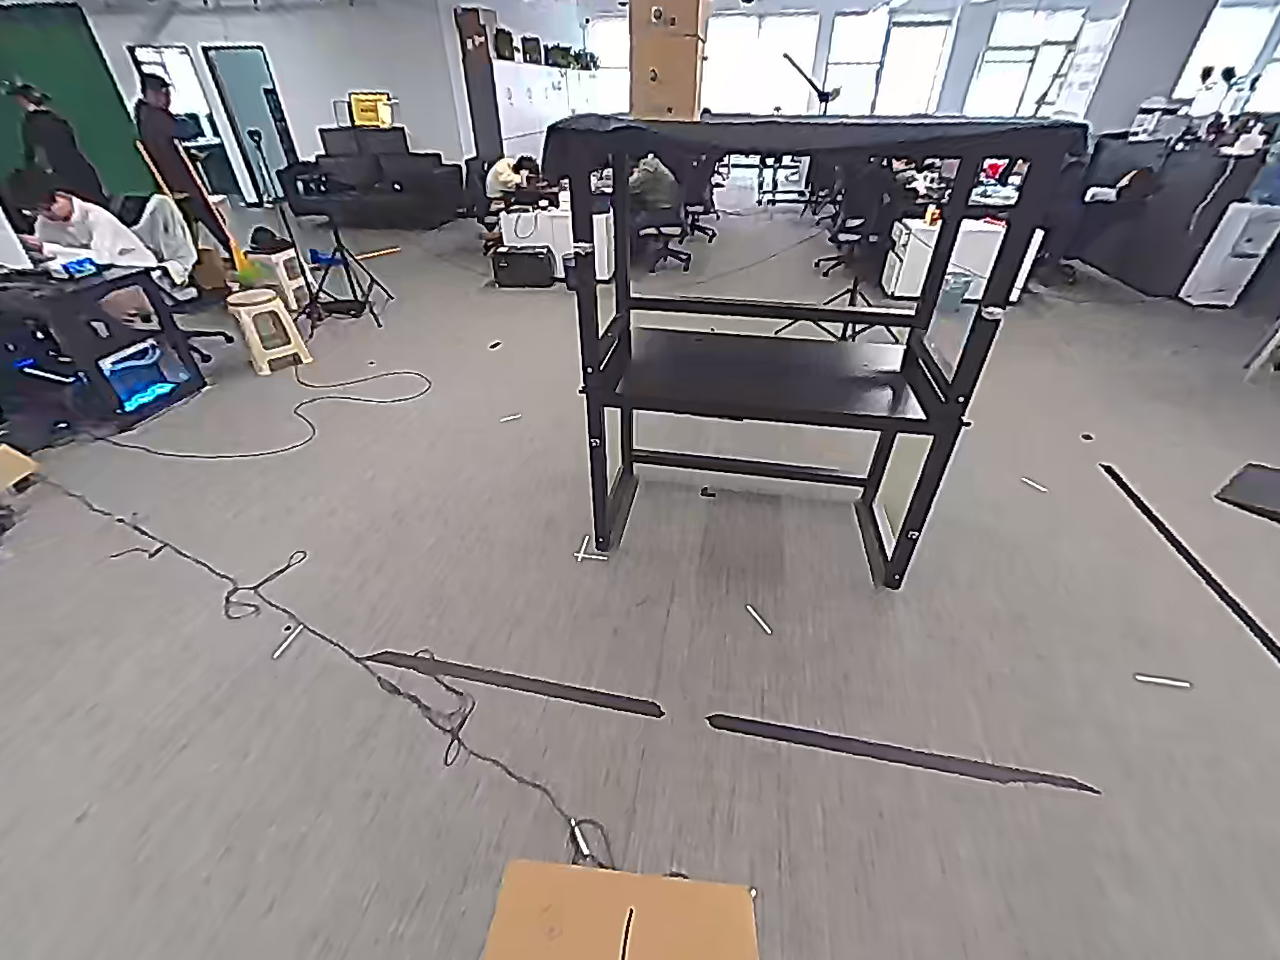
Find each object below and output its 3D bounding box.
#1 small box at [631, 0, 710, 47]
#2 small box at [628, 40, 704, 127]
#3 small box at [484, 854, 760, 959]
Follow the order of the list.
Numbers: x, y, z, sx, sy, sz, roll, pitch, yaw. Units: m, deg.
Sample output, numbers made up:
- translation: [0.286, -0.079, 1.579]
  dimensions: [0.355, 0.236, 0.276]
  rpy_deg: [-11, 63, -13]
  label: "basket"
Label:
- translation: [0.074, -1.128, 1.273]
  dimensions: [0.168, 0.176, 0.179]
  rpy_deg: [7, 34, 10]
  label: "small box"
- translation: [0.067, -0.993, 1.363]
  dimensions: [0.168, 0.176, 0.179]
  rpy_deg: [7, 34, 8]
  label: "small box"
- translation: [-0.019, 0.371, 0.325]
  dimensions: [0.168, 0.176, 0.179]
  rpy_deg: [7, 29, 1]
  label: "small box"
